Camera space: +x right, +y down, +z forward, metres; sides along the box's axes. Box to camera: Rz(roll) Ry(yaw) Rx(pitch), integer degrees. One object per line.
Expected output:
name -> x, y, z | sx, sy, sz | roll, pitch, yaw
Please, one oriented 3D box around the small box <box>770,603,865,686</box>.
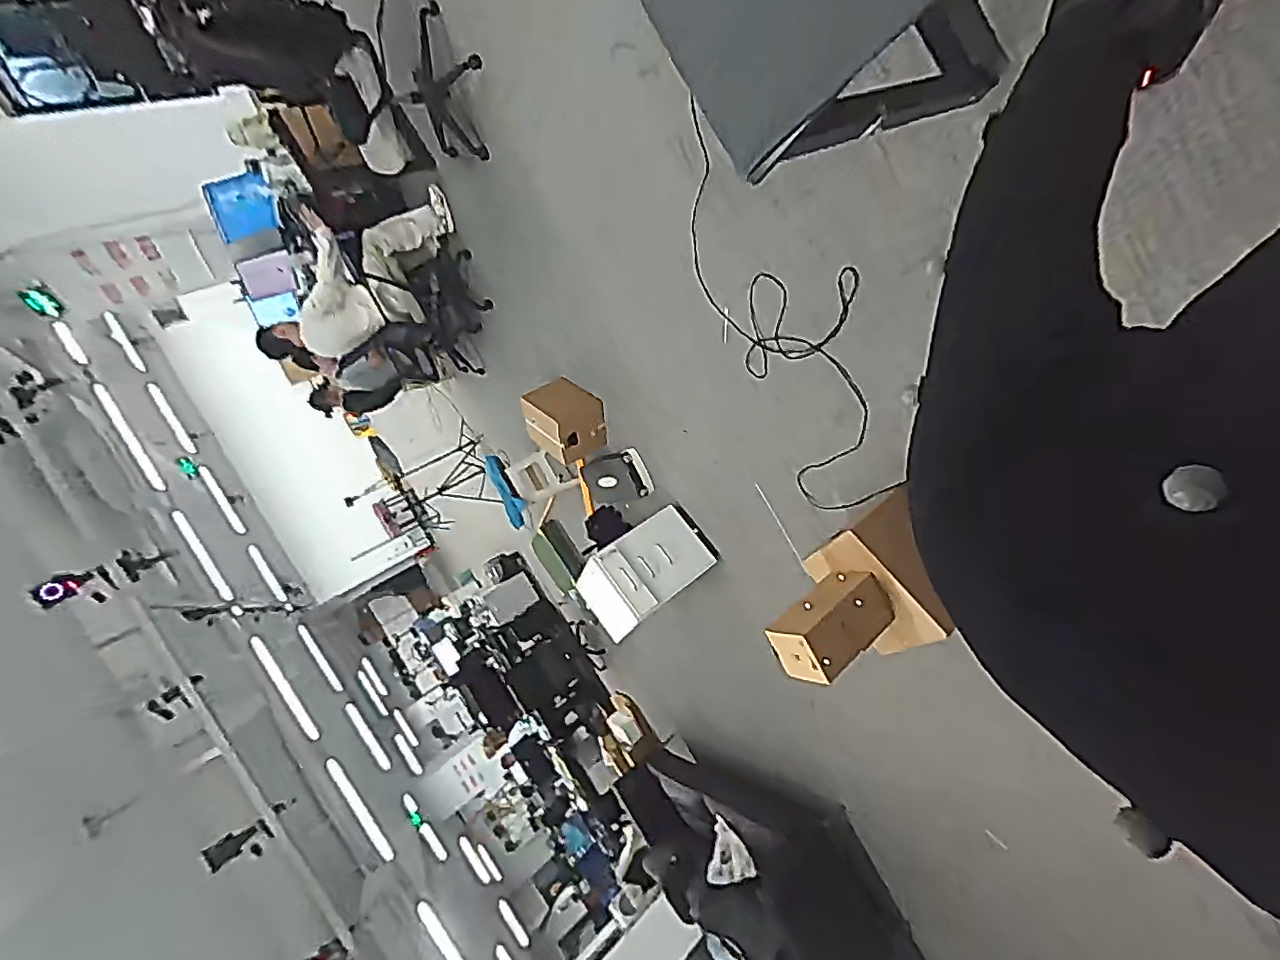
small box -> 0.534, 0.483, 1.624 | 0.168, 0.176, 0.179 | 60, 154, -4
